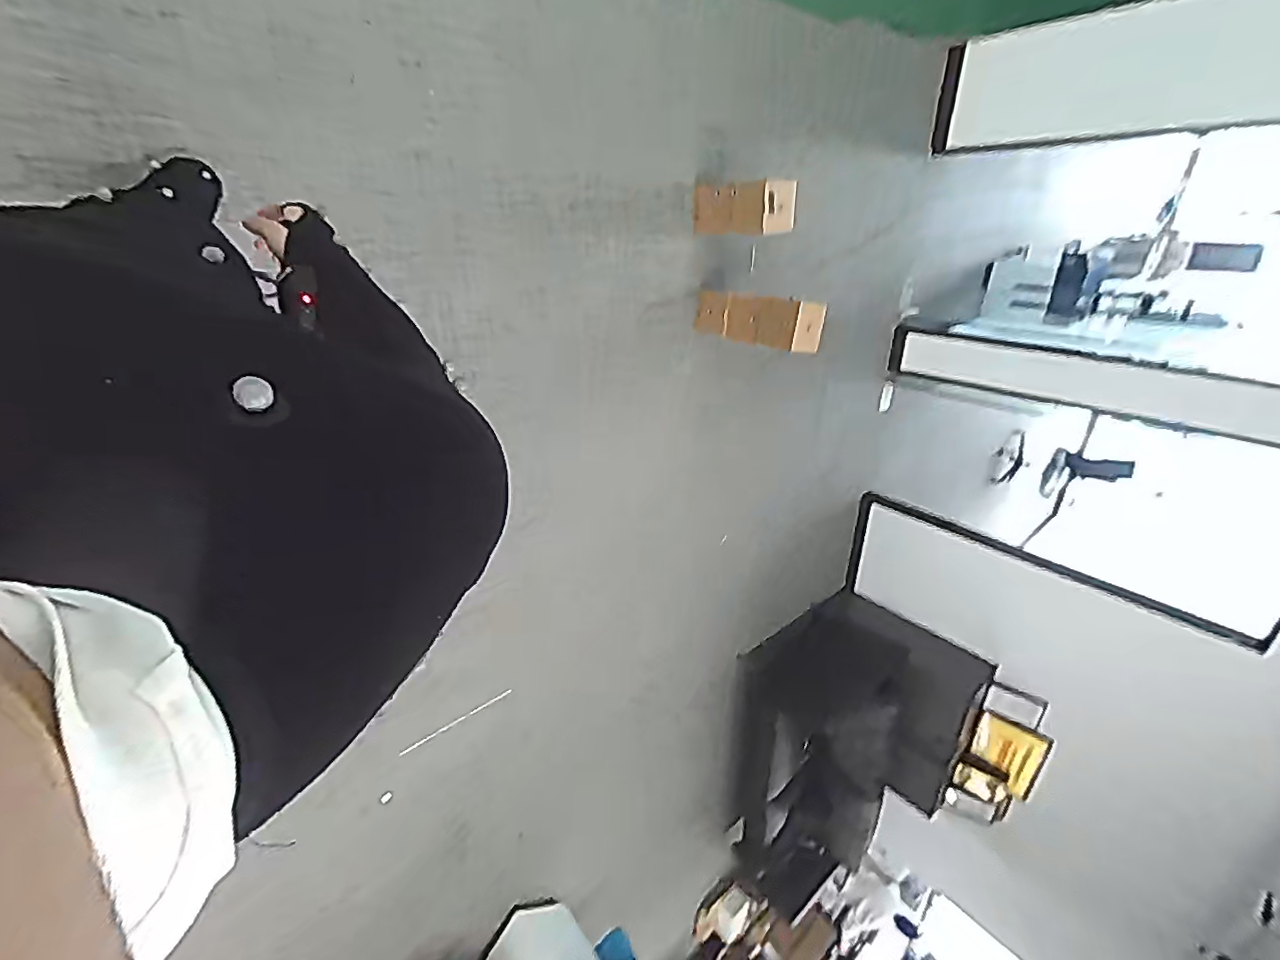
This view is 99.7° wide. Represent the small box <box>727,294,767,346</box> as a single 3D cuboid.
[{"bbox_3d":[0.460,-0.629,2.122,0.168,0.176,0.179,-14,118,-38],"label":"small box"}]

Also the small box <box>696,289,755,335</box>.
[{"bbox_3d":[0.351,-0.691,2.226,0.179,0.176,0.168,-12,118,-38],"label":"small box"}]

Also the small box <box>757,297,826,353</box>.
[{"bbox_3d":[0.556,-0.576,2.001,0.168,0.176,0.179,-8,115,-39],"label":"small box"}]

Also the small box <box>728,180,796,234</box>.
[{"bbox_3d":[0.429,-0.971,1.924,0.179,0.176,0.168,-24,125,-34],"label":"small box"}]
